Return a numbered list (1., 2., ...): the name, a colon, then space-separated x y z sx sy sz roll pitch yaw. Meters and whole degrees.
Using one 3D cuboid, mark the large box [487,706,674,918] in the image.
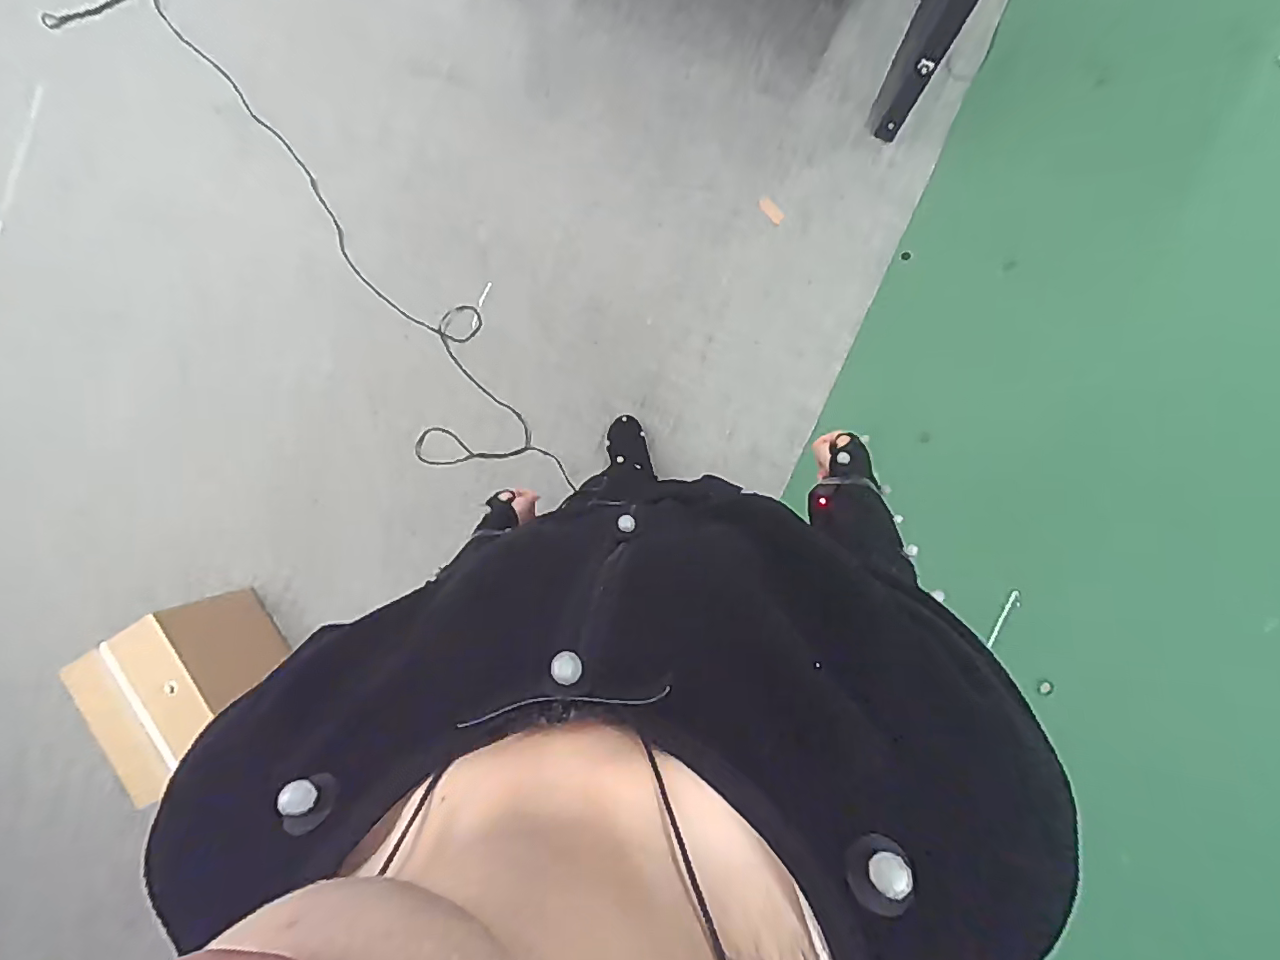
1. large box: -0.135 0.827 1.399 0.408 0.320 0.320 10 93 4
